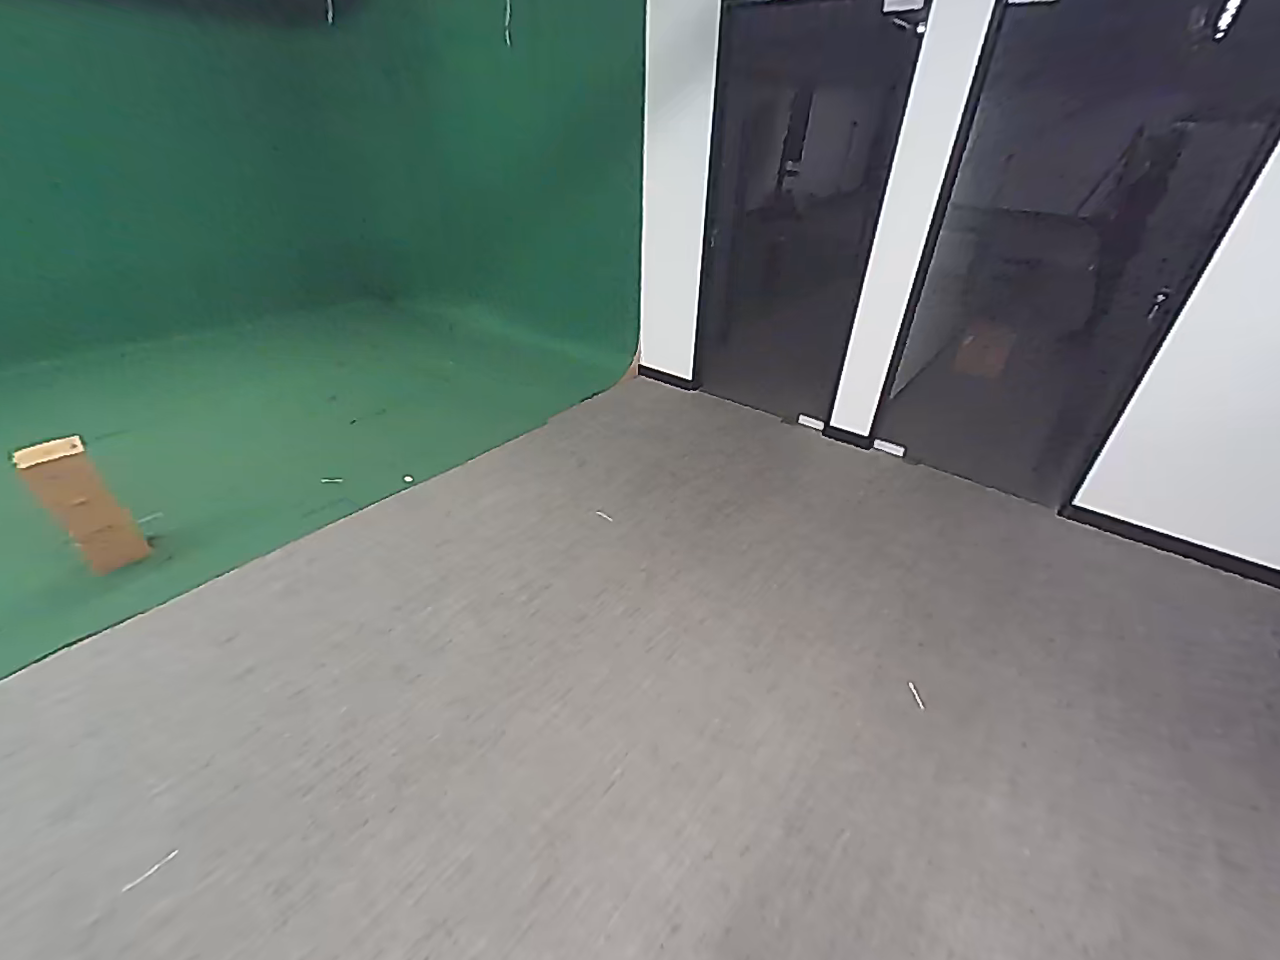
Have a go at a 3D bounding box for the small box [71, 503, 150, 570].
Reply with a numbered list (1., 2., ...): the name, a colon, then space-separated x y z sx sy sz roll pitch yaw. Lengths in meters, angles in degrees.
1. small box: -2.115 0.228 2.168 0.168 0.176 0.179 29 43 33

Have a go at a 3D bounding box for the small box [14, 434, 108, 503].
1. small box: -2.115 -0.040 1.979 0.168 0.176 0.179 27 42 33
